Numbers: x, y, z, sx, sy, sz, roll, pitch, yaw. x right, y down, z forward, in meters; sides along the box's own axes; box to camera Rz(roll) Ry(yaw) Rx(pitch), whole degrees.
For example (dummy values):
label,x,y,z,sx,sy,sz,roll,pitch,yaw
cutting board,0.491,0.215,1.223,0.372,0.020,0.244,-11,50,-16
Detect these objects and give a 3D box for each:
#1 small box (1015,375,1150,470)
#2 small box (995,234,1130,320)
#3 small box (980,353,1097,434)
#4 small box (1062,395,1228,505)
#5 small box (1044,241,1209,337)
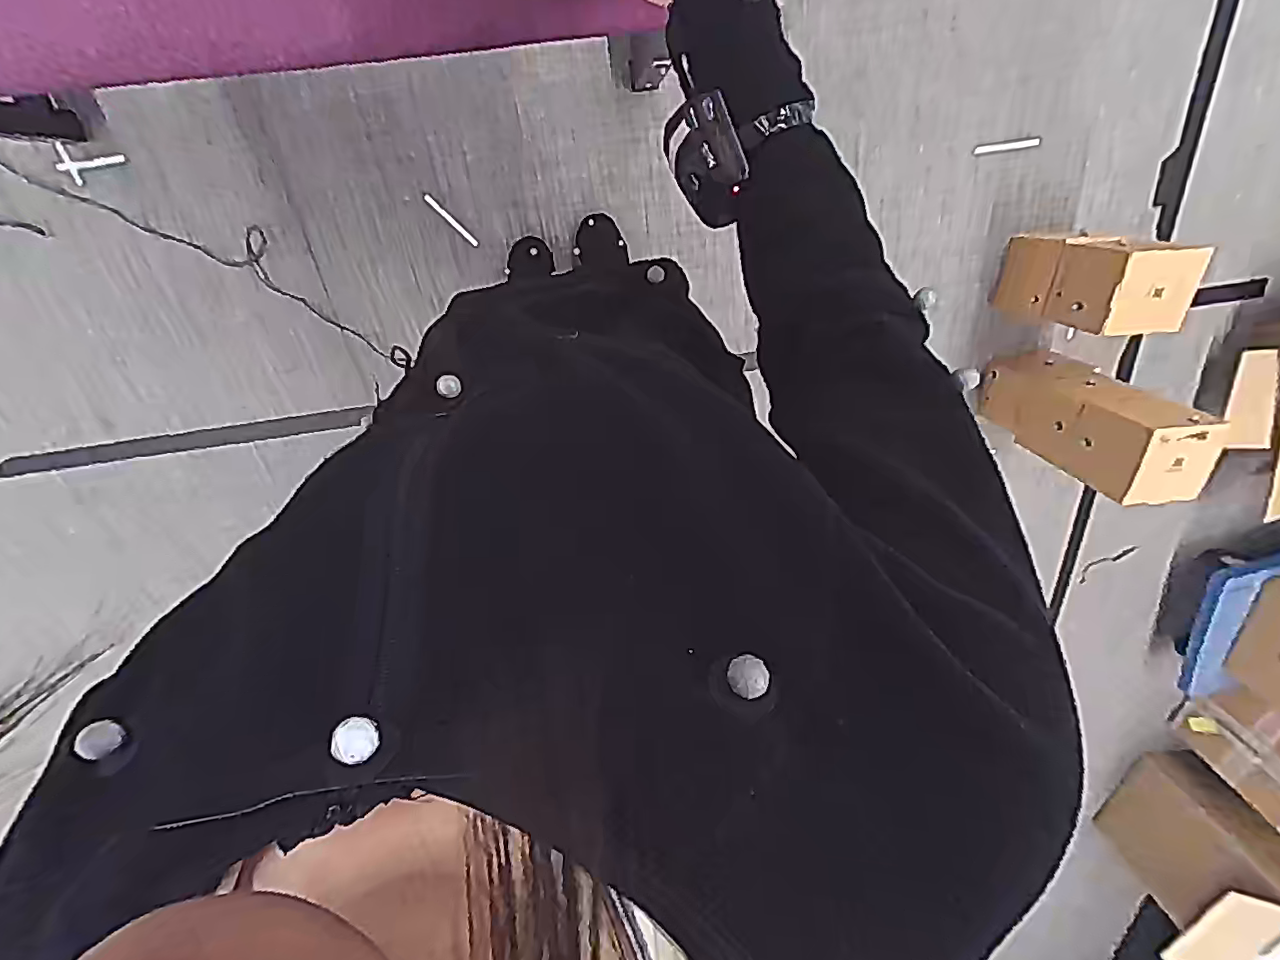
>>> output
label,x,y,z,sx,sy,sz,roll,pitch,yaw
small box,1.051,-0.146,1.304,0.168,0.176,0.179,-7,119,-2
small box,1.000,-0.493,1.301,0.168,0.176,0.179,-4,119,-5
small box,1.051,-0.231,1.446,0.179,0.176,0.168,-10,119,-2
small box,1.063,-0.068,1.160,0.168,0.176,0.179,-5,120,-4
small box,1.025,-0.414,1.161,0.179,0.176,0.168,-6,120,-5
